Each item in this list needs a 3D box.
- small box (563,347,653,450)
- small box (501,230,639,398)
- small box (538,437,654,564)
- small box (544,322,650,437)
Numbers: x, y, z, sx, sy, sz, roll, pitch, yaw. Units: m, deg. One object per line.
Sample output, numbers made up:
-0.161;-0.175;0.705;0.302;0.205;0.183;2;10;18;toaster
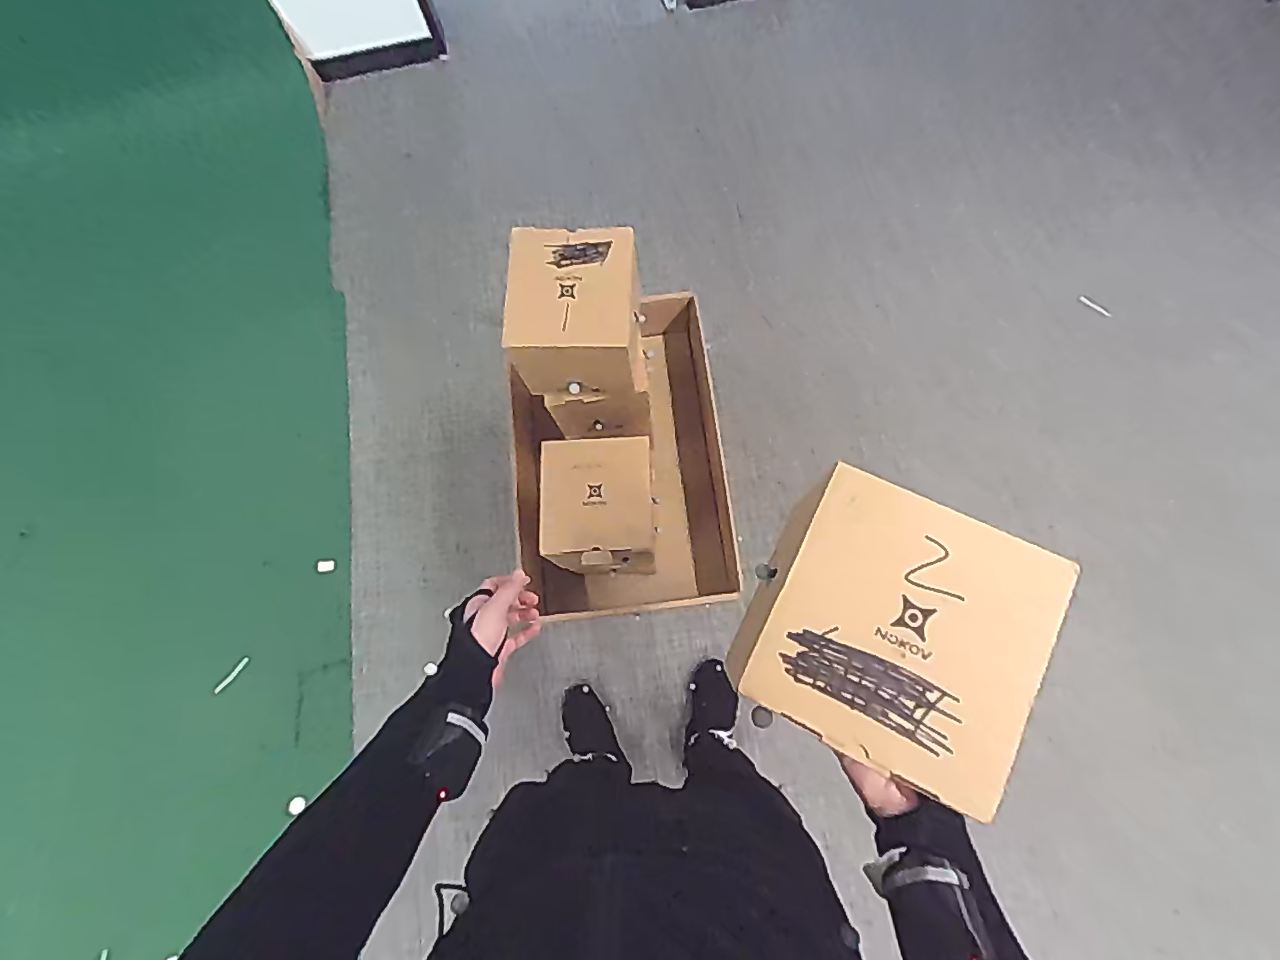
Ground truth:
-0.065;-0.155;1.099;0.168;0.176;0.179;-7;77;3;small box
-0.090;-0.234;0.785;0.168;0.176;0.179;1;77;3;small box
-0.063;0.043;0.874;0.168;0.176;0.179;-2;73;2;small box
-0.076;-0.190;0.943;0.168;0.176;0.179;-9;76;1;small box
